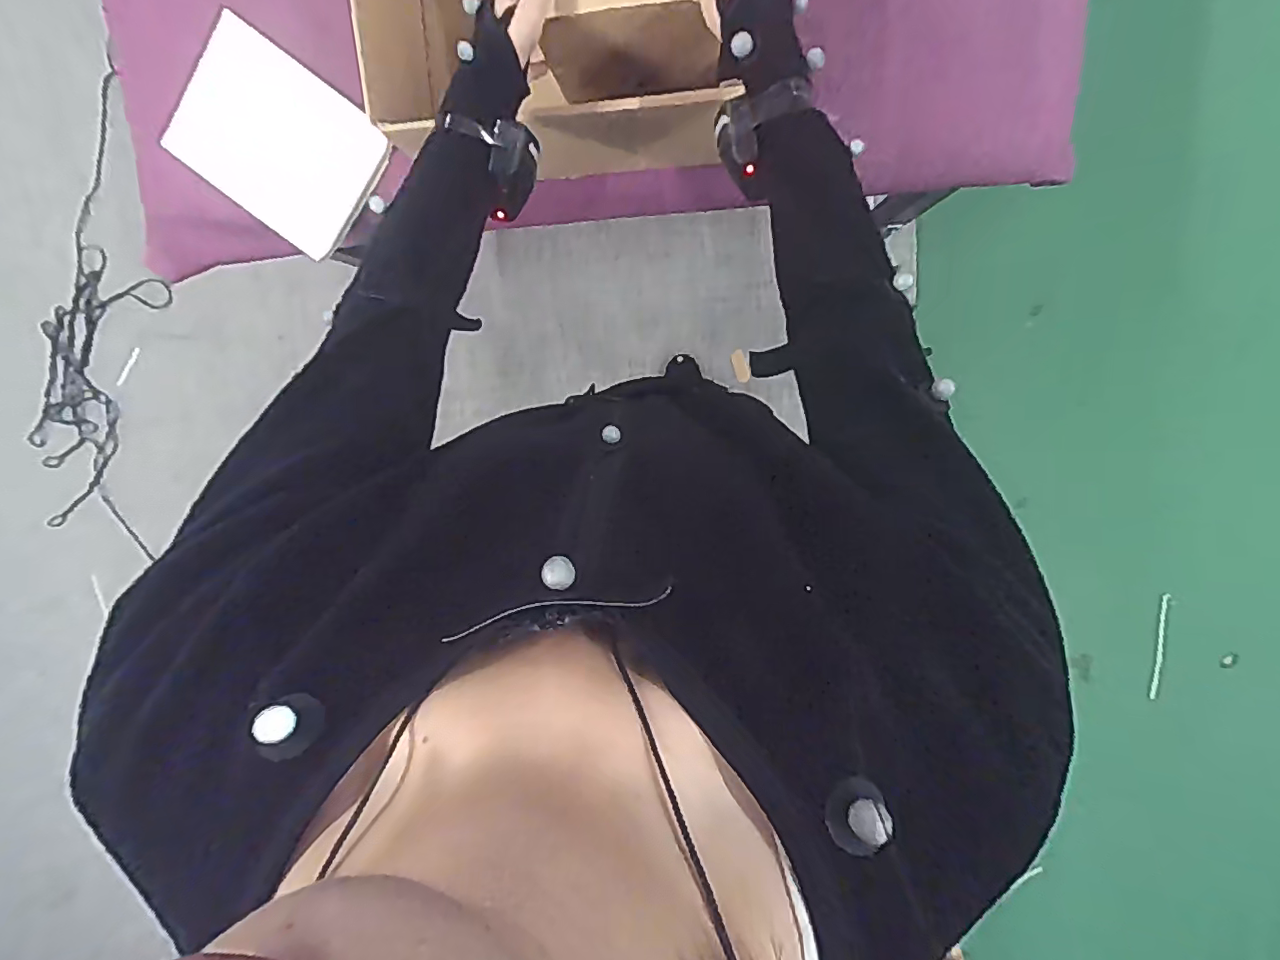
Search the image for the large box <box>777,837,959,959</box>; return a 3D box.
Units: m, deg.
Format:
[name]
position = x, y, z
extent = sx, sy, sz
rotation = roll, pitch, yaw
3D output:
[large box]
position = 0.655, 1.316, 1.555
extent = 0.408, 0.320, 0.320
rotation = -18, 100, 6
